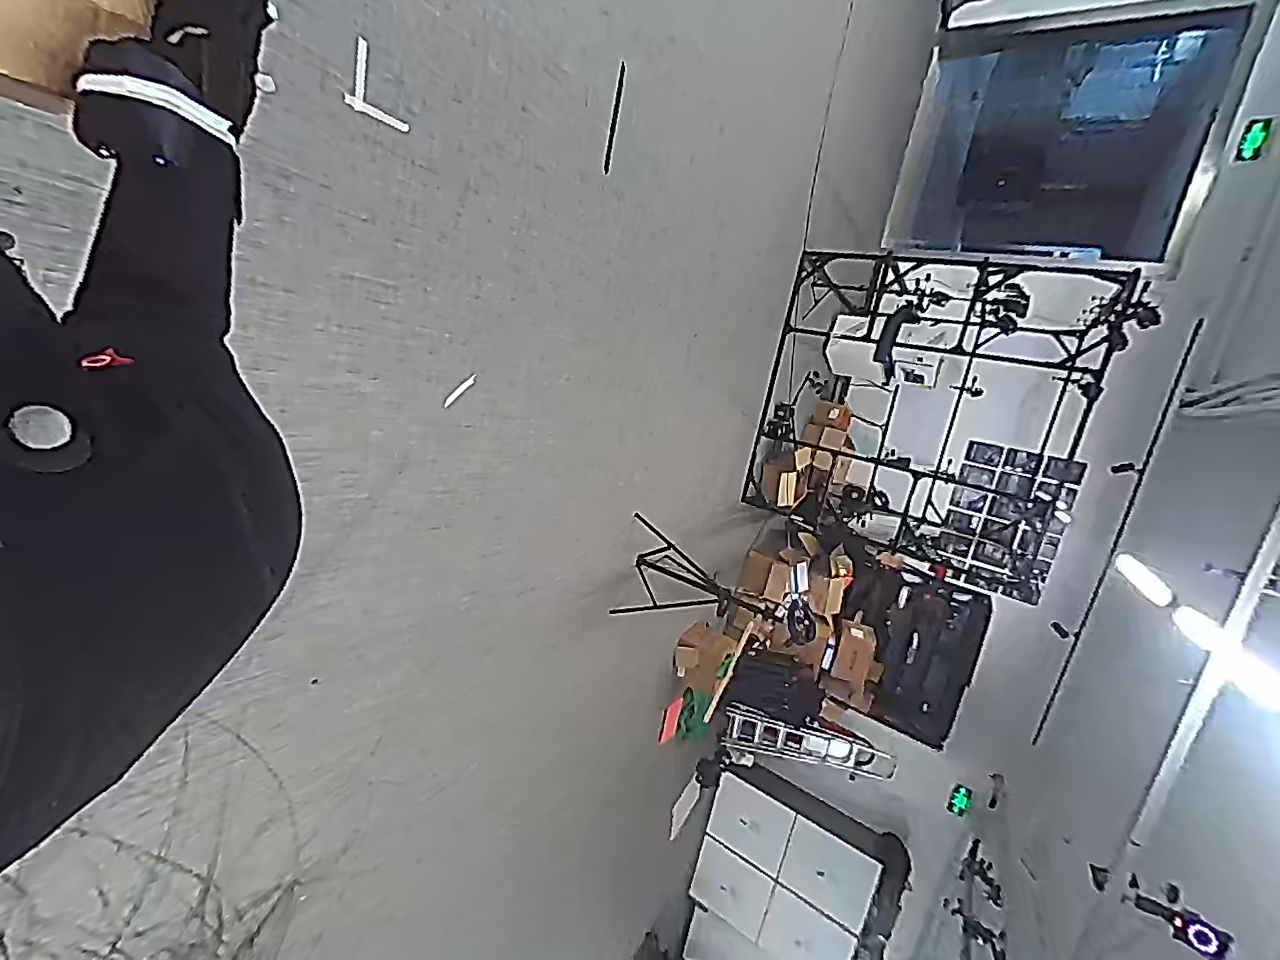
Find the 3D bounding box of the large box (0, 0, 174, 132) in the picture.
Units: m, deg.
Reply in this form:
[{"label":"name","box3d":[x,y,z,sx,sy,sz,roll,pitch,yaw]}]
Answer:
[{"label":"large box","box3d":[-0.552,-0.451,0.287,0.408,0.320,0.320,-6,119,-58]}]
